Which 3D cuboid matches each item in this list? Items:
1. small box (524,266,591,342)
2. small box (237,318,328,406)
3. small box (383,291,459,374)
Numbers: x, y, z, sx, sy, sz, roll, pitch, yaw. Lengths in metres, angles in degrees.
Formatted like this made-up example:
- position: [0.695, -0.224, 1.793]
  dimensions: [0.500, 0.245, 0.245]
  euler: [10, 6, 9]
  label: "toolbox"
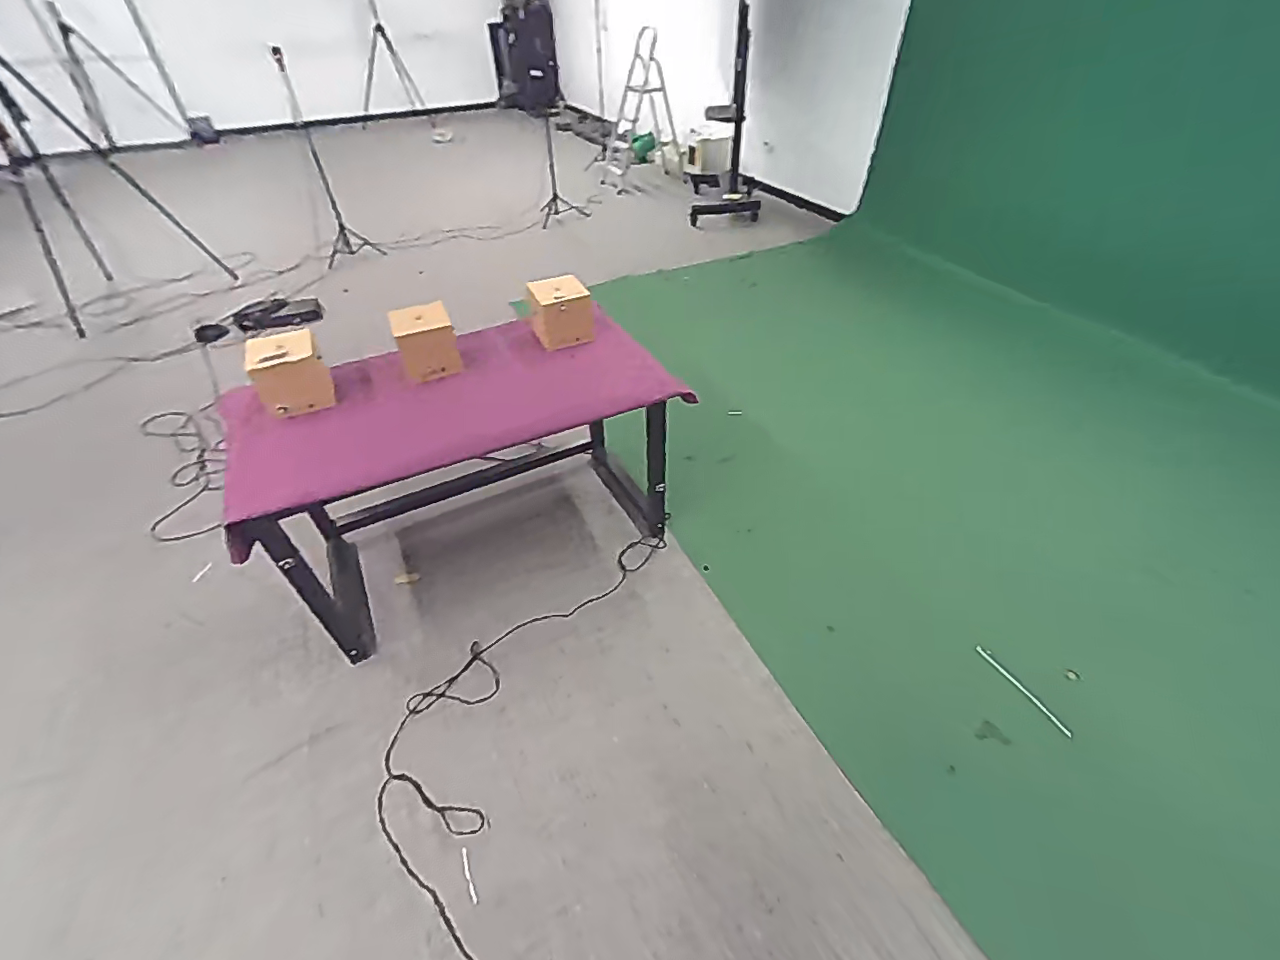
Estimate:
- position: [-0.271, -0.580, 1.781]
  dimensions: [0.168, 0.176, 0.179]
  euler: [-20, 48, -17]
  label: "small box"
- position: [-0.998, -0.326, 1.520]
  dimensions: [0.168, 0.176, 0.179]
  euler: [-18, 48, -19]
  label: "small box"
- position: [-0.667, -0.449, 1.651]
  dimensions: [0.168, 0.176, 0.179]
  euler: [-18, 48, -17]
  label: "small box"
